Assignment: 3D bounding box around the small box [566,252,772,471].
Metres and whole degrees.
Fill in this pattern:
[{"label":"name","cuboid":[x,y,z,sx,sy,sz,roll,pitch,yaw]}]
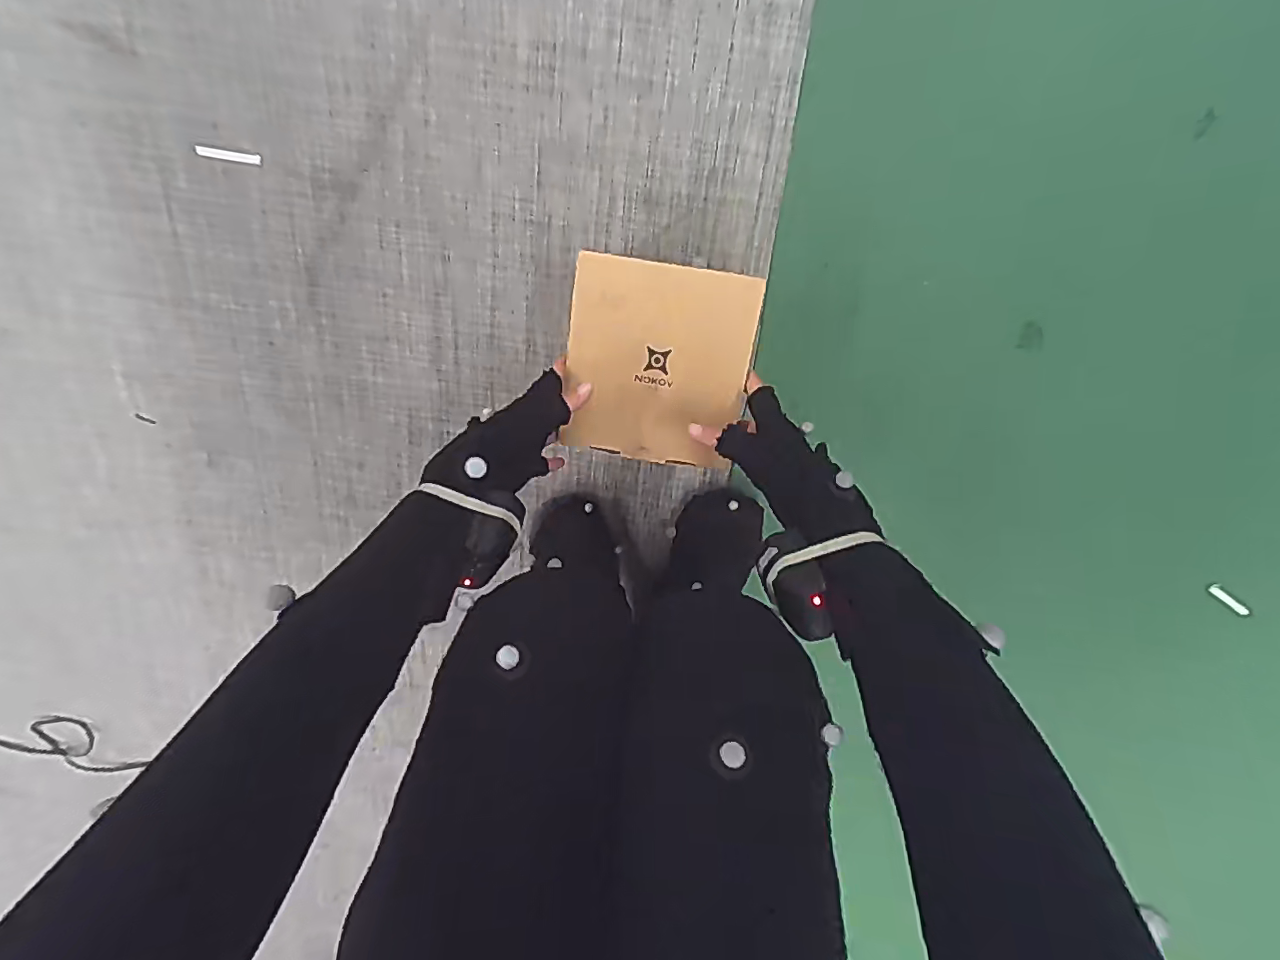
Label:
[{"label":"small box","cuboid":[0.028,-0.126,0.568,0.168,0.176,0.179,10,107,2]}]
